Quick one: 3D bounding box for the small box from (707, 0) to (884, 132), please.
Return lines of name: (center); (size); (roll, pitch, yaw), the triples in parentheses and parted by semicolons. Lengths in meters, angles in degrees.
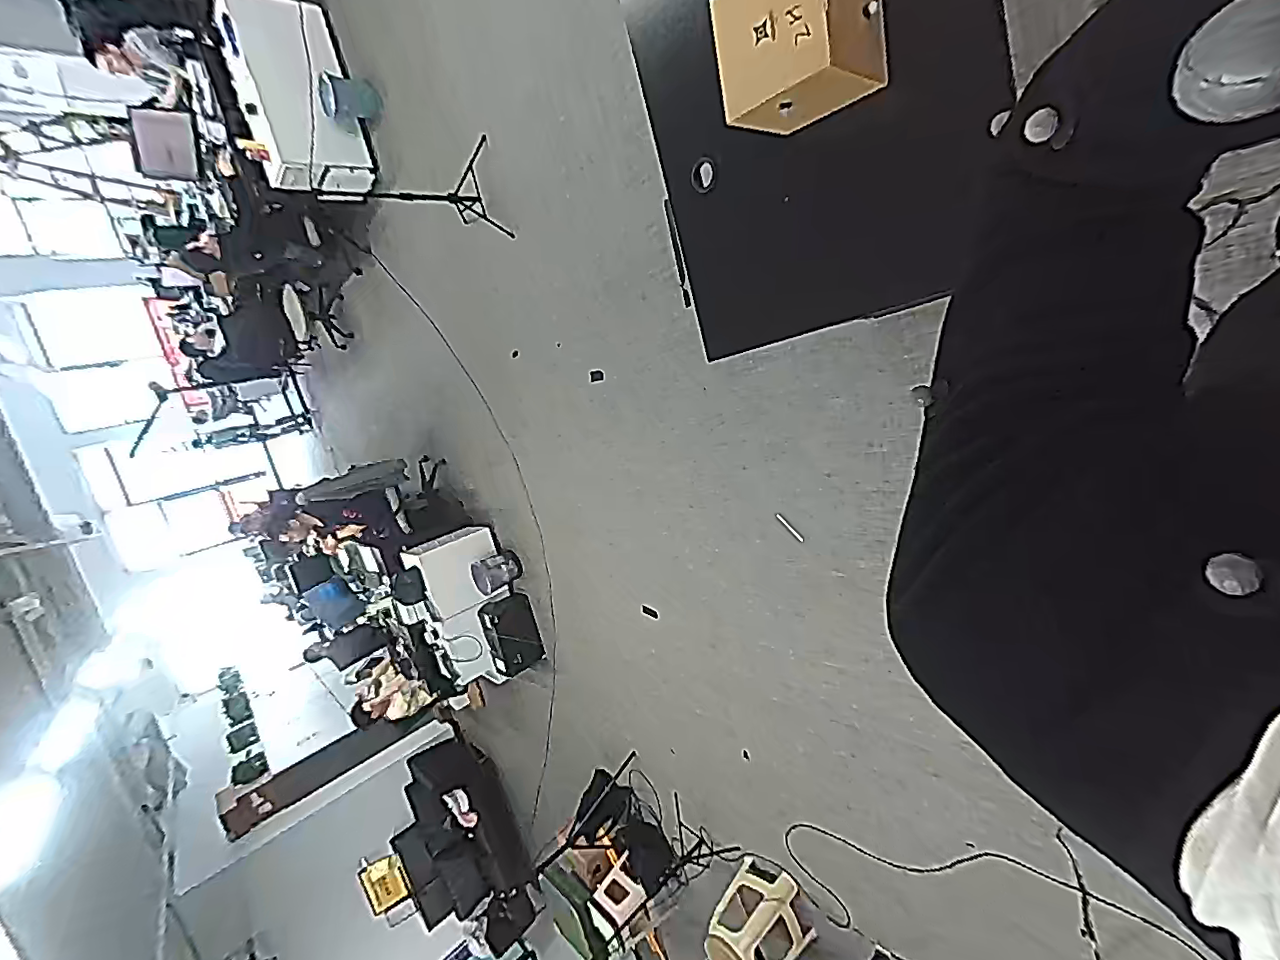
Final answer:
small box: (0.227, -0.632, 0.784); (0.179, 0.176, 0.168); (4, 111, 49)
